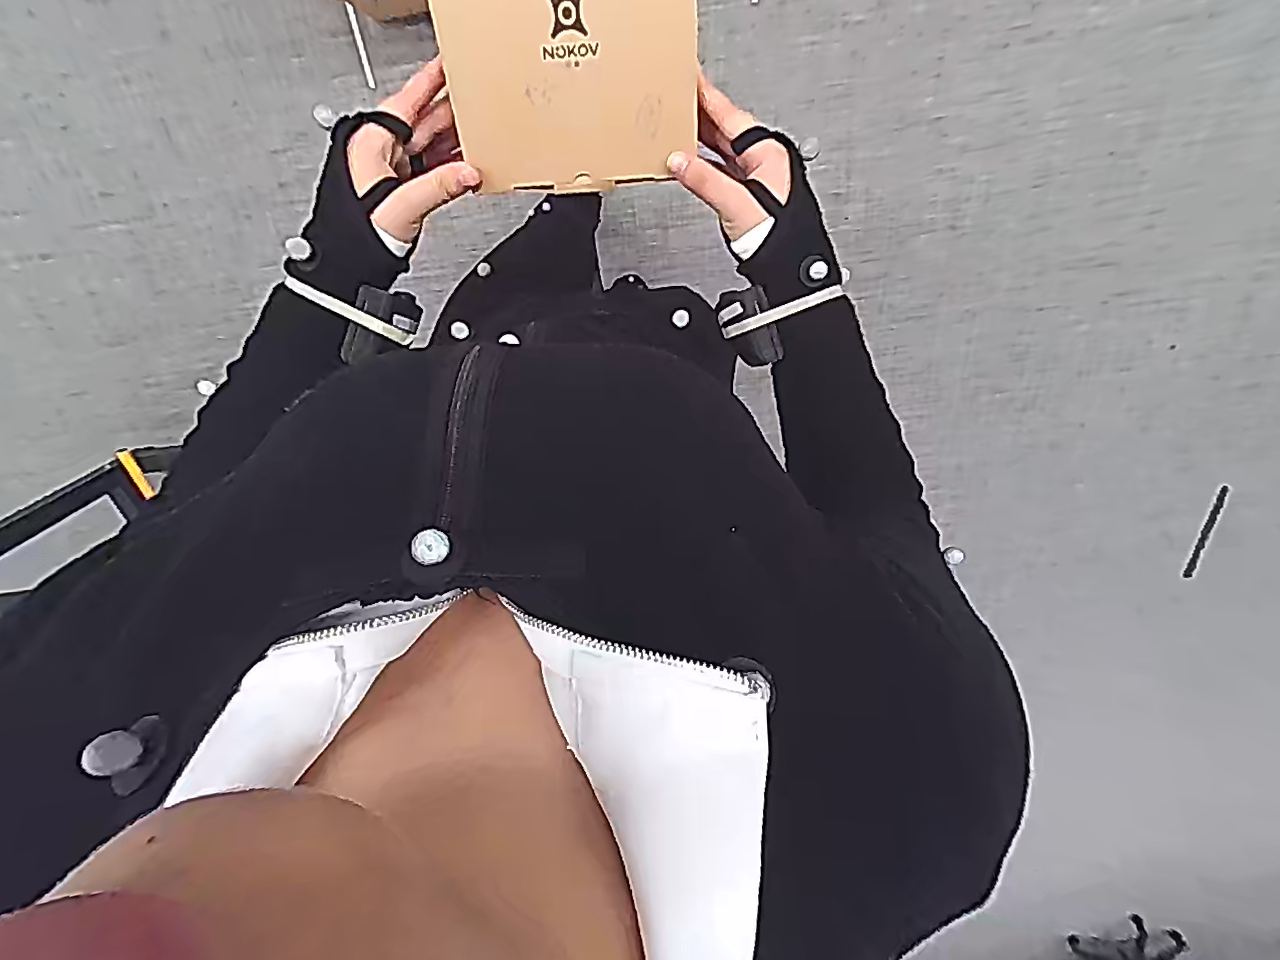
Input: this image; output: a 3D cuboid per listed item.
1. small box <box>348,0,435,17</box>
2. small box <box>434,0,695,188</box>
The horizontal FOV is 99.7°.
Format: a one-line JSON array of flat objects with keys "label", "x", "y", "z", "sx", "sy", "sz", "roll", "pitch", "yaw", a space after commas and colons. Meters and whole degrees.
[{"label": "small box", "x": -0.449, "y": -0.959, "z": 0.961, "sx": 0.179, "sy": 0.176, "sz": 0.168, "roll": -8, "pitch": 119, "yaw": 3}, {"label": "small box", "x": -0.047, "y": -0.337, "z": 0.407, "sx": 0.168, "sy": 0.176, "sz": 0.179, "roll": -3, "pitch": 128, "yaw": 0}]
